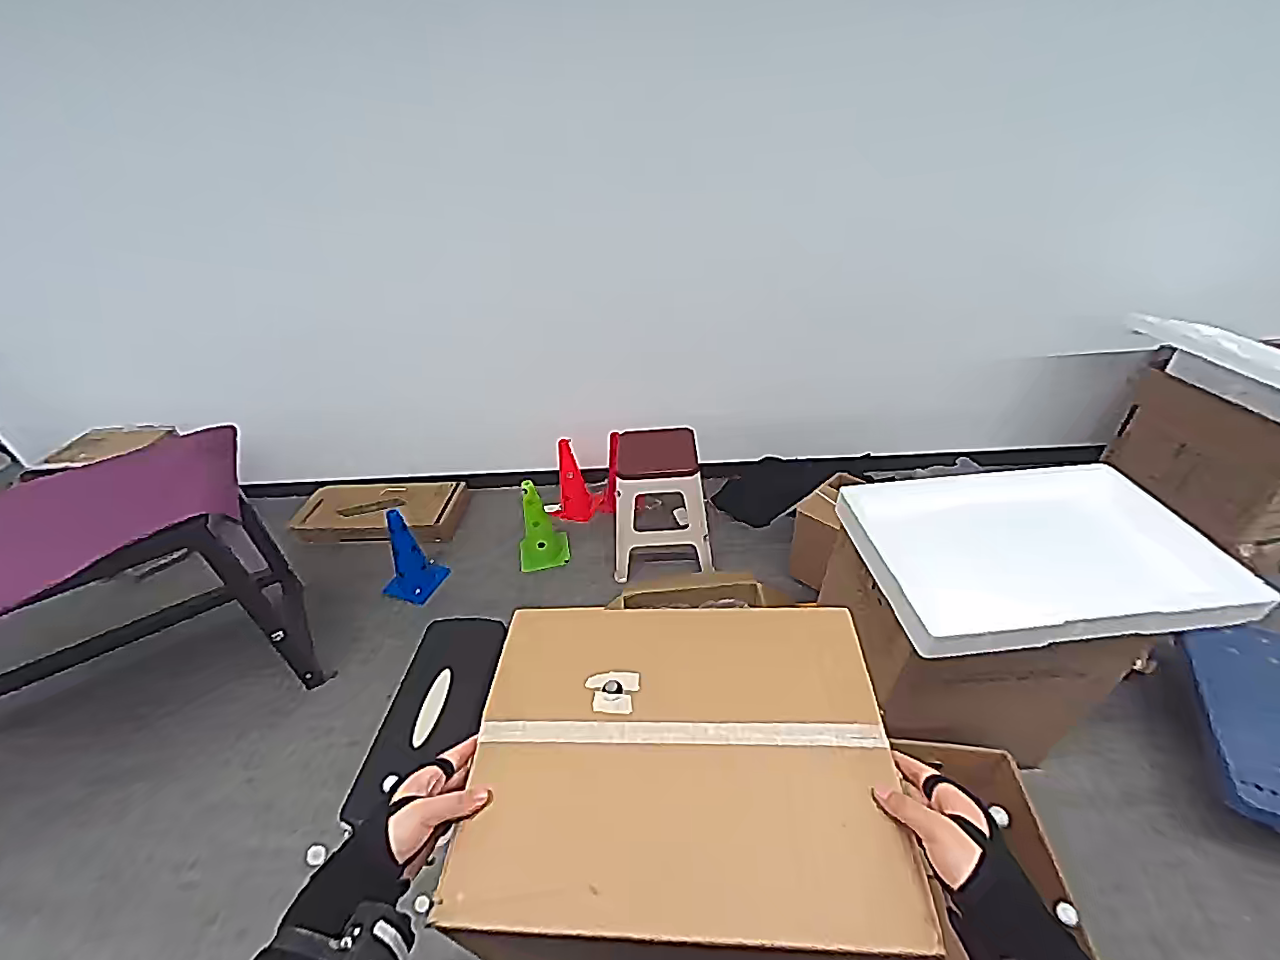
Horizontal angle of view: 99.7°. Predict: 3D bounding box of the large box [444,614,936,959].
[{"bbox_3d":[0.055,0.383,0.638,0.408,0.320,0.320,-3,38,6],"label":"large box"}]
